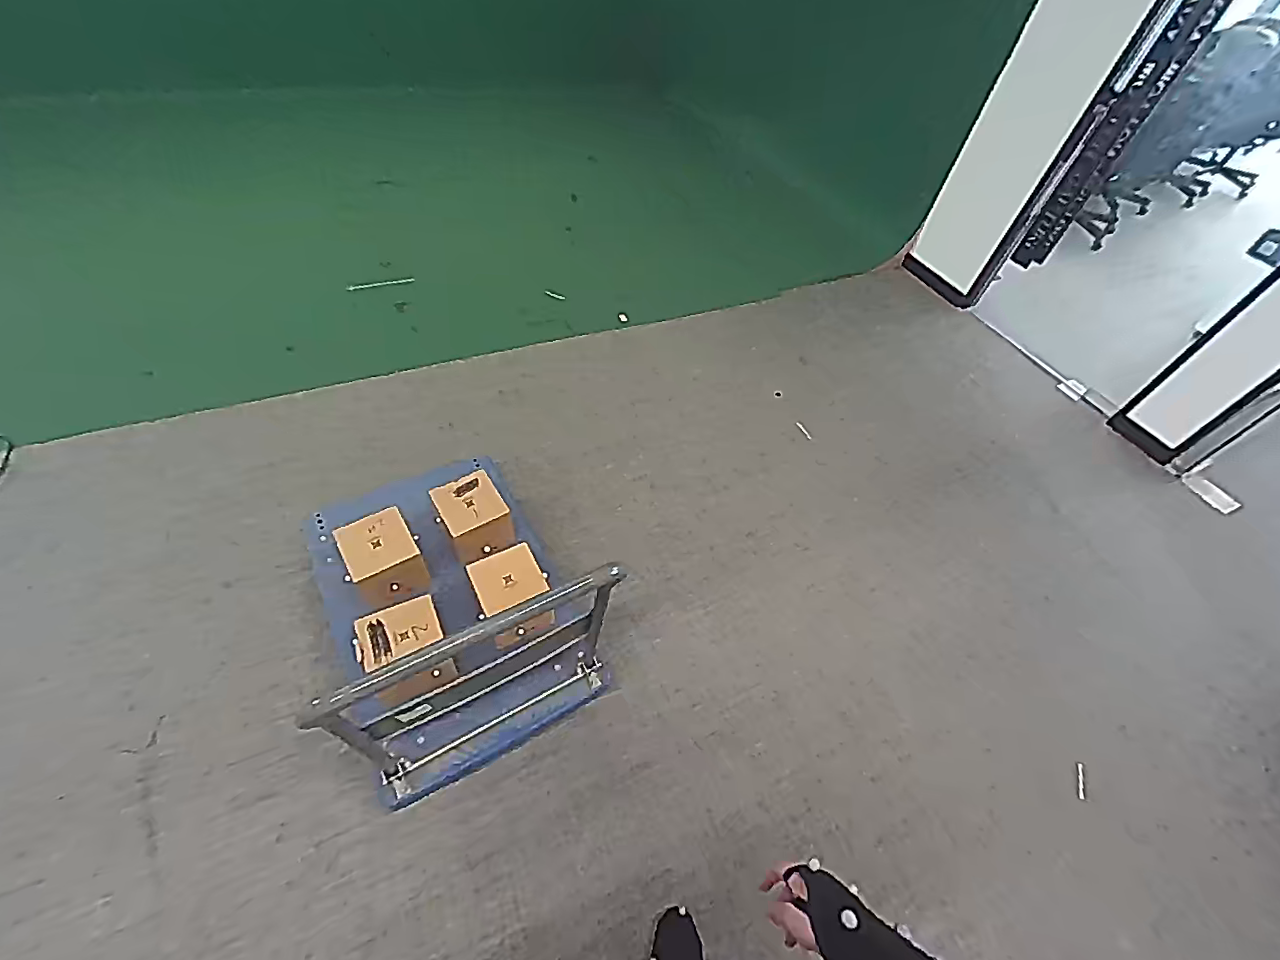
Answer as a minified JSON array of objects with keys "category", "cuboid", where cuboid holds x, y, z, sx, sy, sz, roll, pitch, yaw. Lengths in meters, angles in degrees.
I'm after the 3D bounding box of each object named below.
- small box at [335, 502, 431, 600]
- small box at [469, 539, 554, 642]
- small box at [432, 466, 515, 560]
[{"category":"small box","cuboid":[-0.679,0.197,1.443,0.168,0.176,0.179,-25,60,-25]},{"category":"small box","cuboid":[-0.336,0.292,1.421,0.168,0.176,0.179,-21,59,-22]},{"category":"small box","cuboid":[-0.473,0.096,1.548,0.168,0.176,0.179,-26,62,-24]}]
